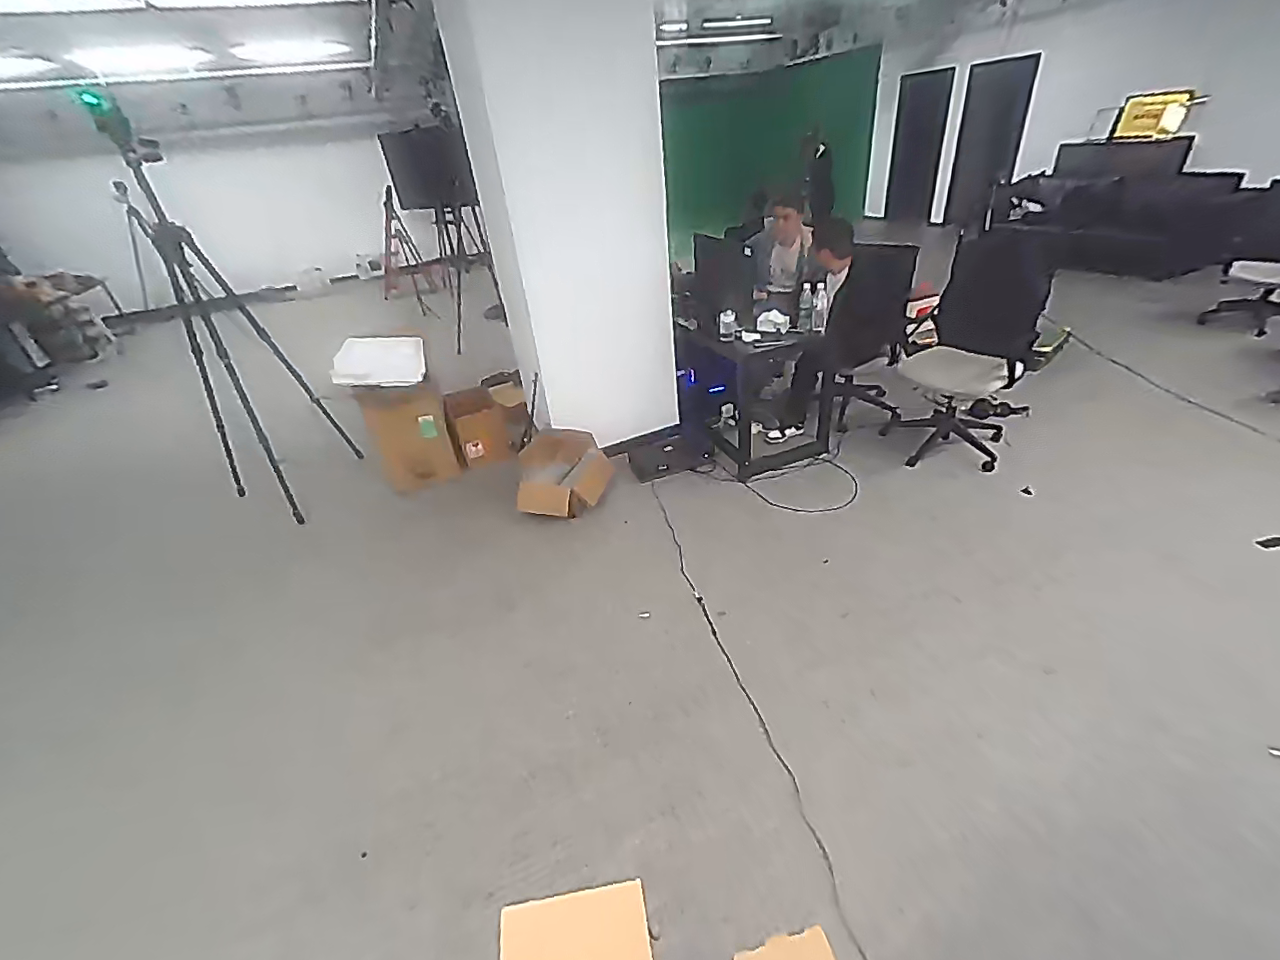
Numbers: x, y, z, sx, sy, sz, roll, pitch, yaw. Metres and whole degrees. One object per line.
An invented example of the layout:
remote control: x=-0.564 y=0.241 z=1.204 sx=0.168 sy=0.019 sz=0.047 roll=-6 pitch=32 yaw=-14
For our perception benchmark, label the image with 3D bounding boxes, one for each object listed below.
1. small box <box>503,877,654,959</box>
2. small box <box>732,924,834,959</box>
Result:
small box: x=-0.066 y=0.597 z=0.624 sx=0.168 sy=0.176 sz=0.179 roll=-6 pitch=42 yaw=-8
small box: x=0.258 y=0.895 z=0.894 sx=0.168 sy=0.176 sz=0.179 roll=-12 pitch=32 yaw=-7
